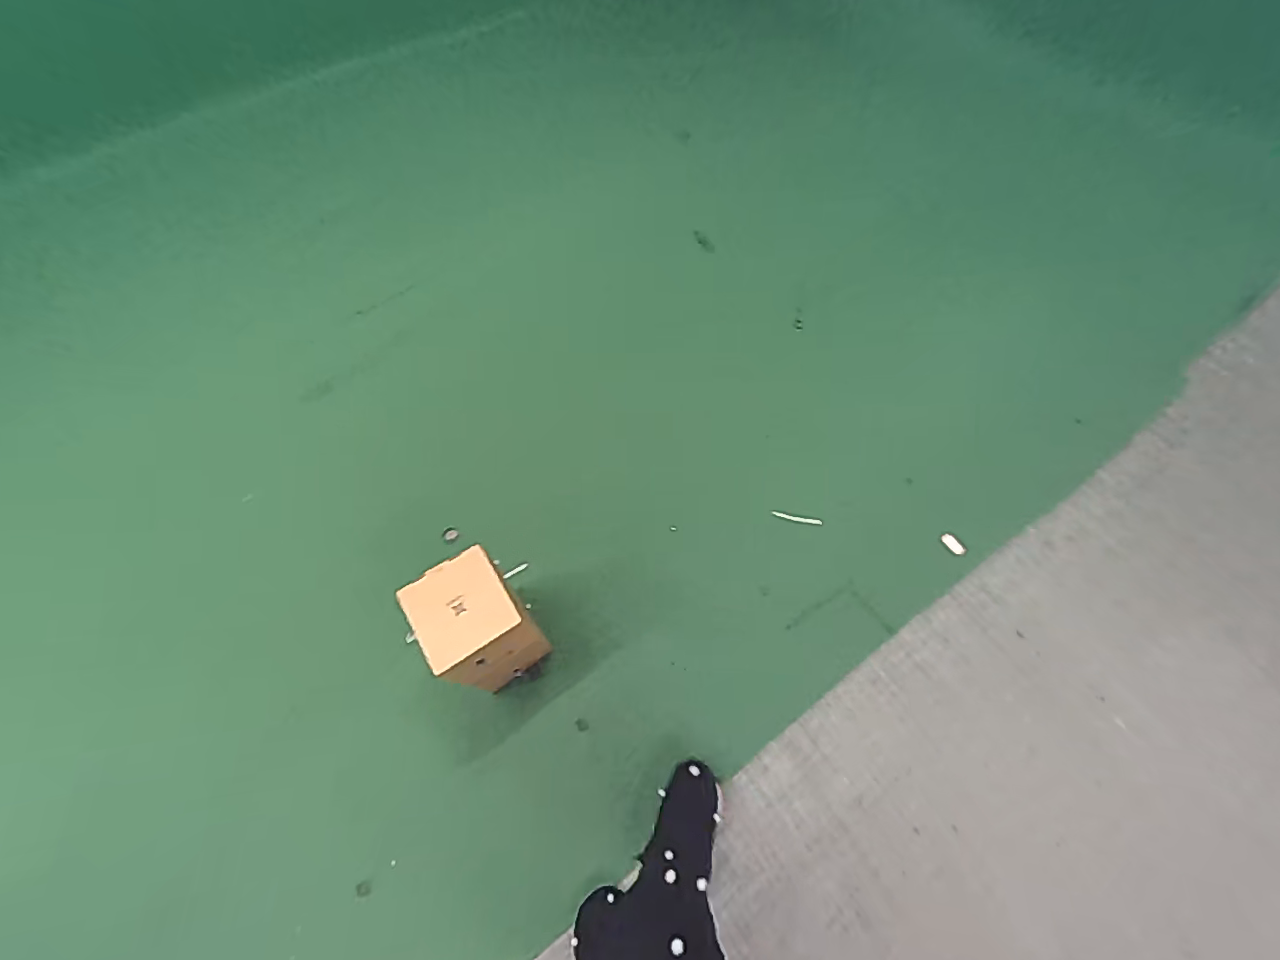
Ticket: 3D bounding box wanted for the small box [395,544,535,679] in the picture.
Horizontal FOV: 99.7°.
[{"bbox_3d":[-0.316,0.254,1.011,0.168,0.176,0.179,-32,66,-13],"label":"small box"}]
